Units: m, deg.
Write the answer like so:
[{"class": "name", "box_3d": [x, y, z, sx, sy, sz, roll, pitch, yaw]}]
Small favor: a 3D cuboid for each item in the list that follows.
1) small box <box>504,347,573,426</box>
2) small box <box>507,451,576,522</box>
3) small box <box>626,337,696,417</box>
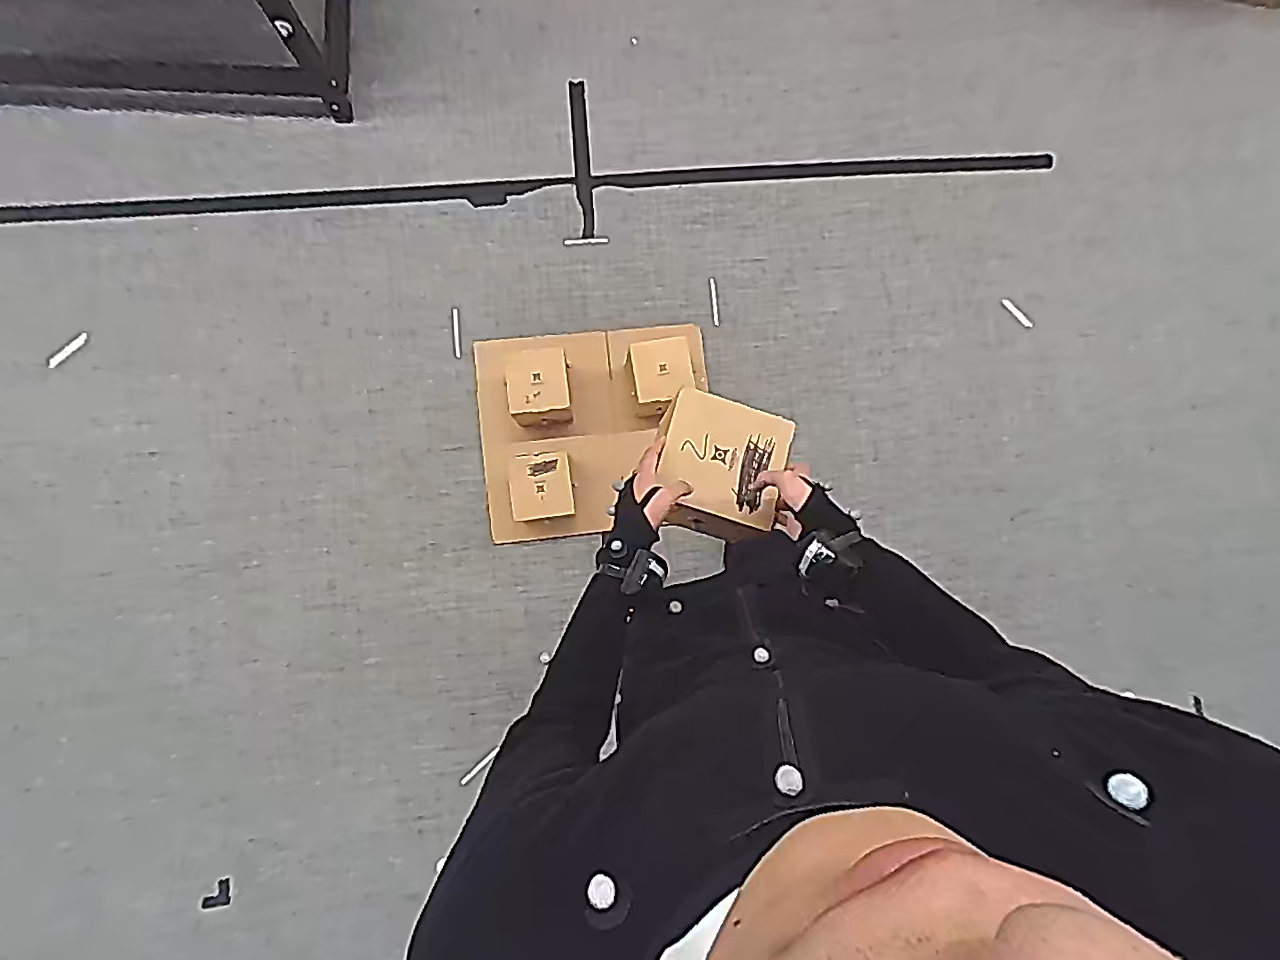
[{"class": "small box", "box_3d": [-0.285, -0.261, 1.540, 0.168, 0.176, 0.179, -7, 86, -4]}, {"class": "small box", "box_3d": [-0.271, 0.023, 1.518, 0.168, 0.176, 0.179, -7, 87, -4]}, {"class": "small box", "box_3d": [0.055, -0.295, 1.576, 0.168, 0.176, 0.179, -10, 86, -5]}]
